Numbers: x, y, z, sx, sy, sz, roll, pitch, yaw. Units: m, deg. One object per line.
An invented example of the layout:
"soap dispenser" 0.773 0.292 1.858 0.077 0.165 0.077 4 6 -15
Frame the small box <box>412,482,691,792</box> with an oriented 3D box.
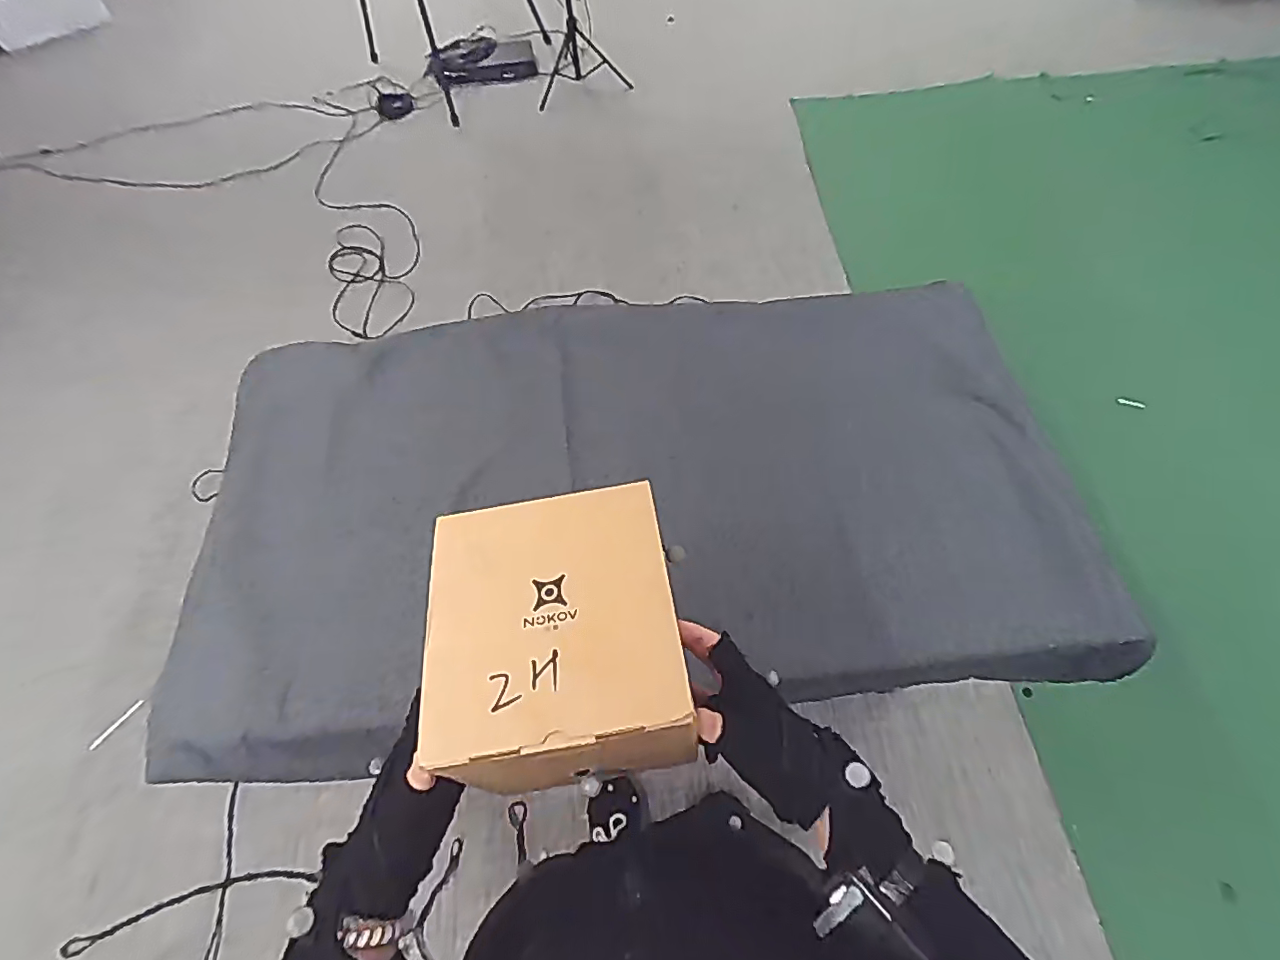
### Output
"small box" -0.056 0.129 0.426 0.168 0.176 0.179 -10 56 0
